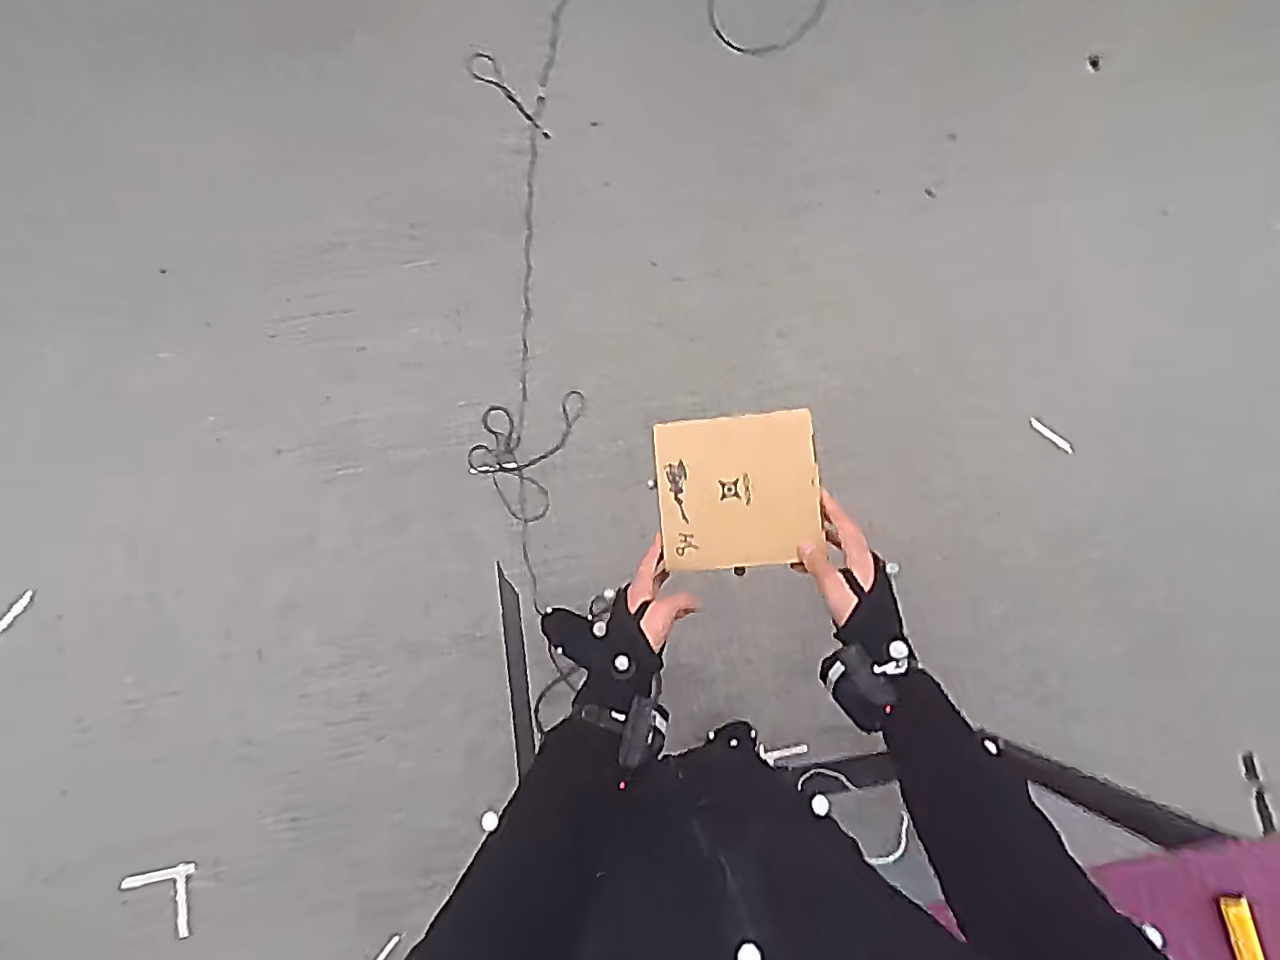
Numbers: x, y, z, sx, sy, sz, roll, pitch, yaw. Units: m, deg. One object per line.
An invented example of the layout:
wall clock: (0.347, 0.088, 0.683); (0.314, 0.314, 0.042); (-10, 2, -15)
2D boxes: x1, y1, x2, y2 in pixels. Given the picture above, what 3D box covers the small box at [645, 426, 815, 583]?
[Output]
small box: (0.104, 0.034, 0.674); (0.179, 0.176, 0.168); (-6, 83, 6)
